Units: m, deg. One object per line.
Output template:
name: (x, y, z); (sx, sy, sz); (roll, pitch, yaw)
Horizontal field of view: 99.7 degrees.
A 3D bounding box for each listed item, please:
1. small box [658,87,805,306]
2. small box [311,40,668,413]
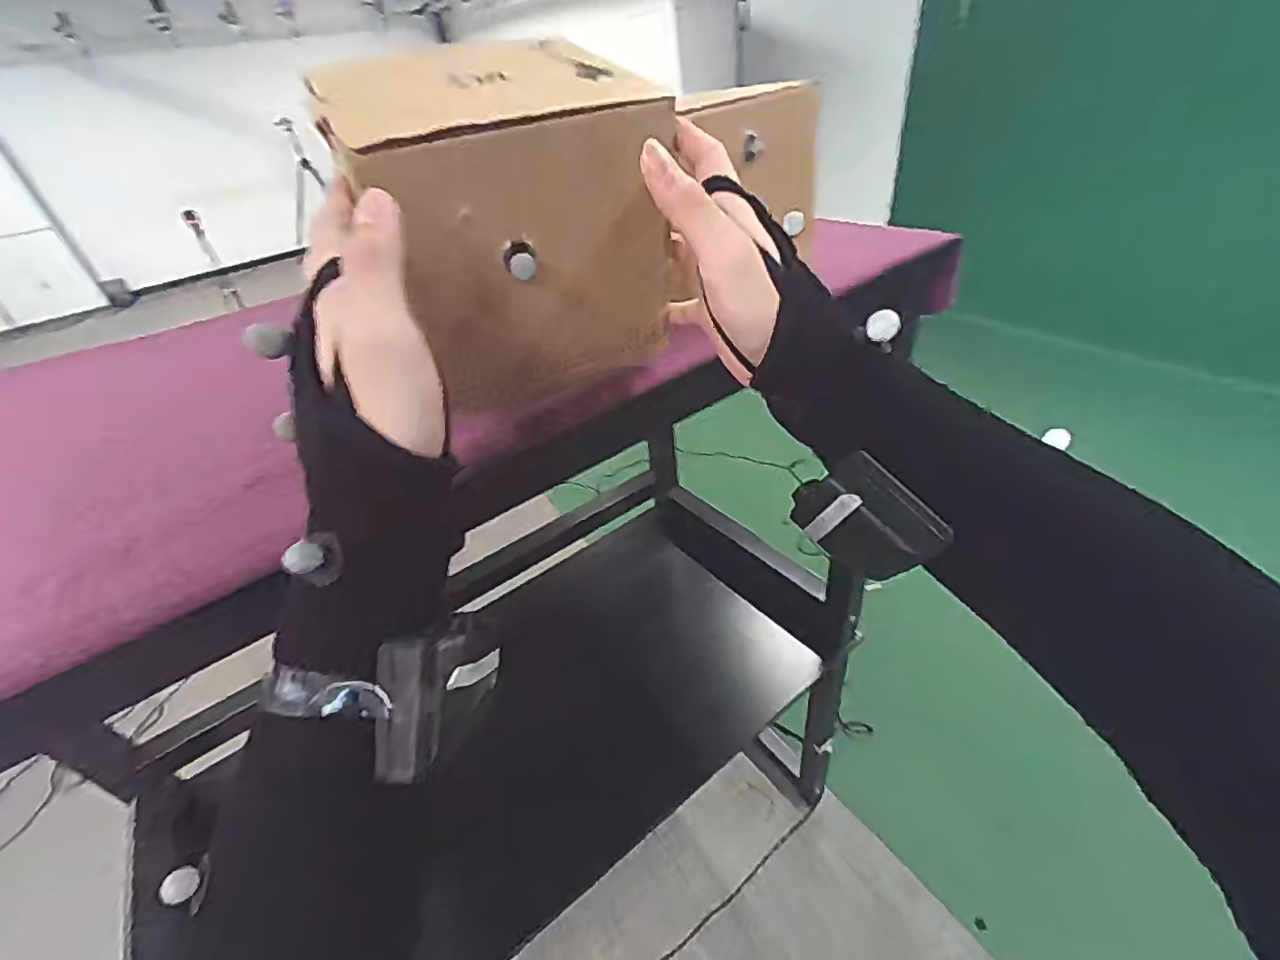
small box: (0.060, -0.305, 0.589); (0.179, 0.176, 0.168); (-27, 40, -21)
small box: (-0.092, -0.174, 0.377); (0.179, 0.176, 0.168); (-22, 54, -16)
